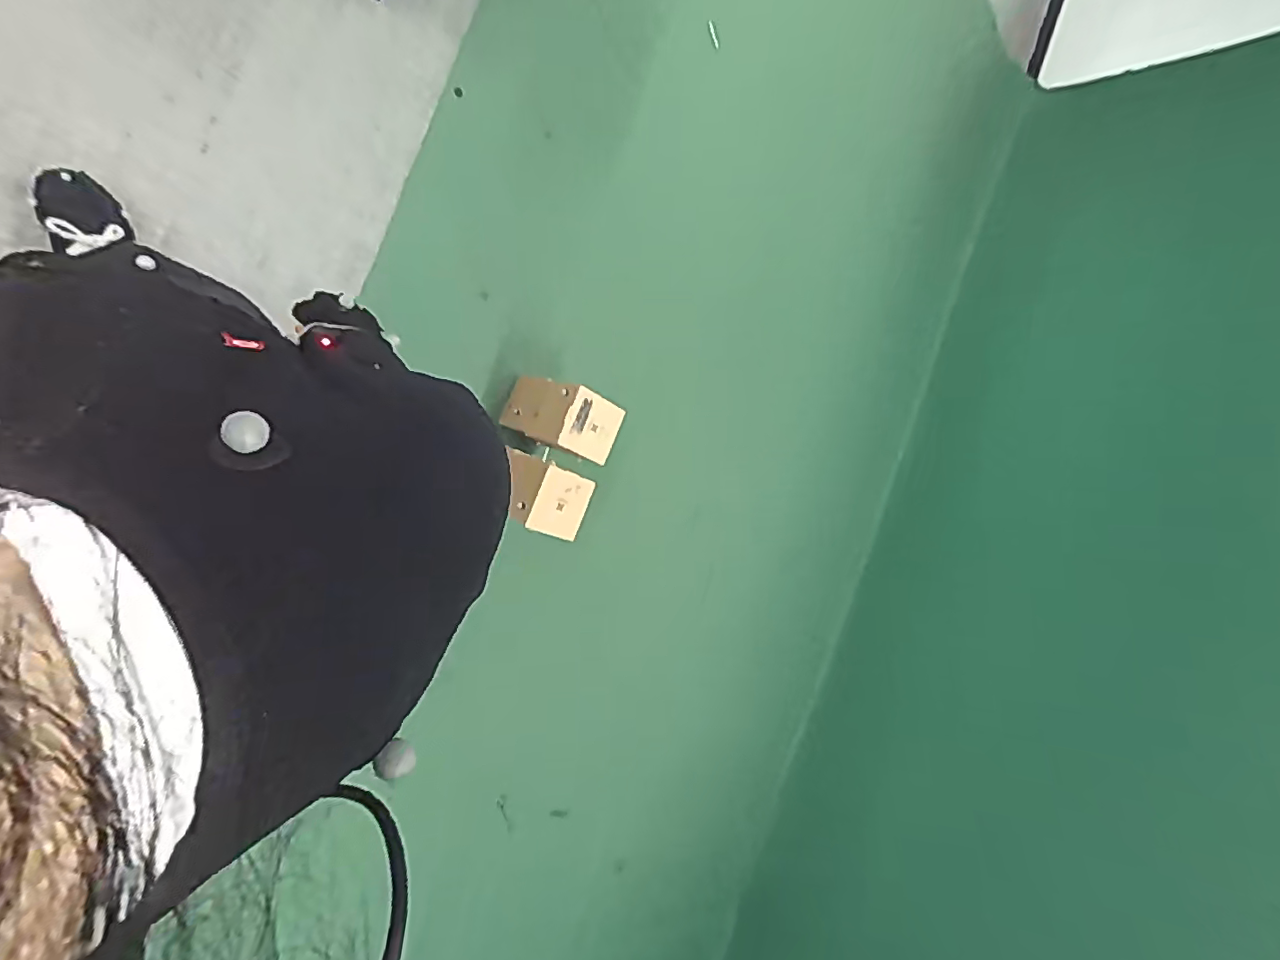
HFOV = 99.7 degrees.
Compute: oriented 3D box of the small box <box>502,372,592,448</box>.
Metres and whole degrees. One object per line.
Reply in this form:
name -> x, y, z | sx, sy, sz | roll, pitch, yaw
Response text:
small box -> -0.284, -0.213, 1.623 | 0.179, 0.176, 0.168 | 29, 83, -42
